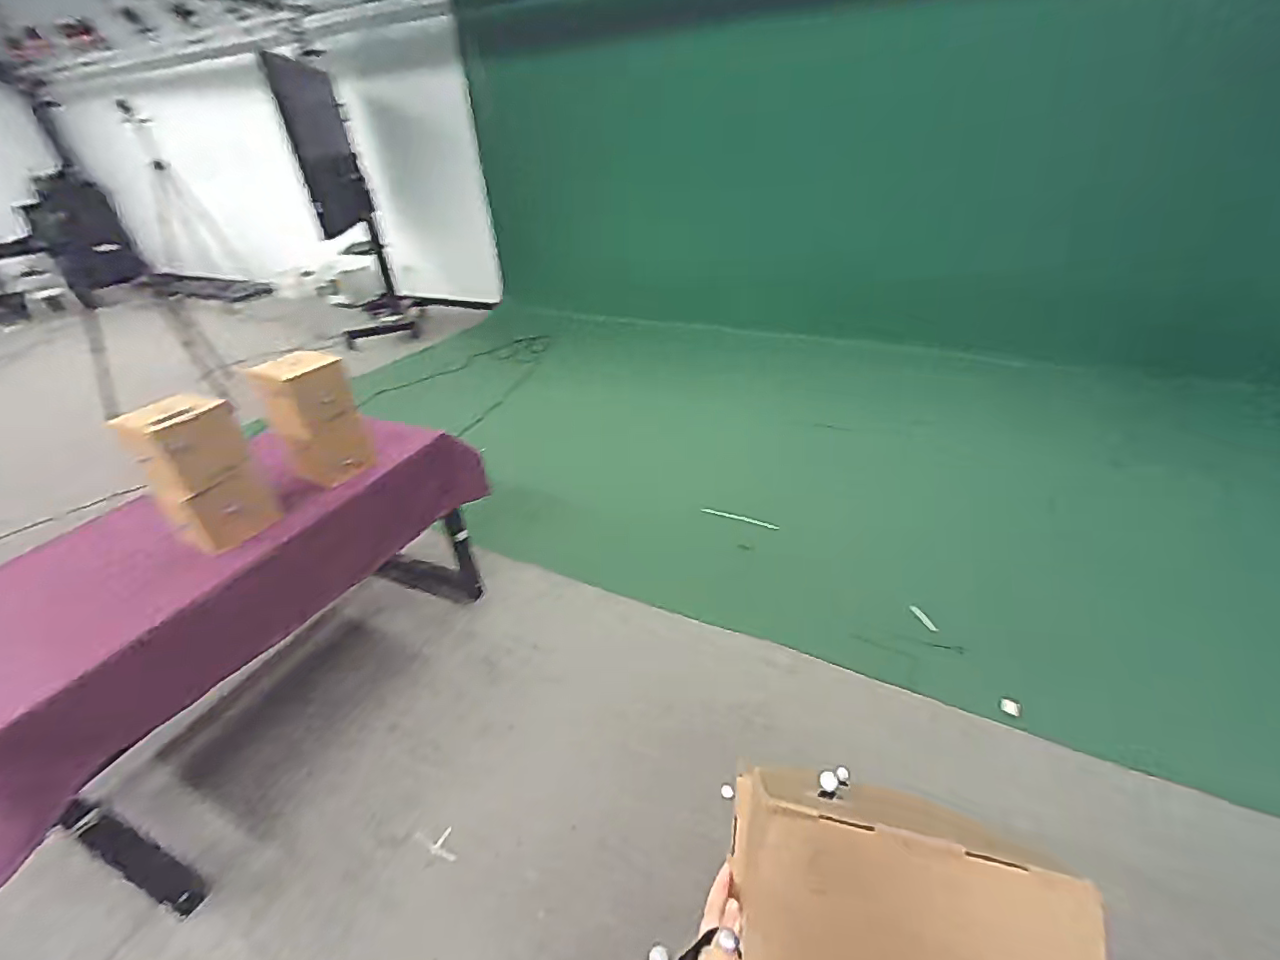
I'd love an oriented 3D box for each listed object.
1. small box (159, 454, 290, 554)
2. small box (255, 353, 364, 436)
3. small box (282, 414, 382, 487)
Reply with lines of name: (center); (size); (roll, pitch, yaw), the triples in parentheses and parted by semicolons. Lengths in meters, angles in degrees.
small box: (-1.036, 0.059, 1.362); (0.168, 0.176, 0.179); (14, 38, 25)
small box: (-0.911, -0.238, 1.505); (0.179, 0.176, 0.168); (14, 36, 25)
small box: (-0.902, -0.099, 1.595); (0.179, 0.176, 0.168); (15, 38, 26)
